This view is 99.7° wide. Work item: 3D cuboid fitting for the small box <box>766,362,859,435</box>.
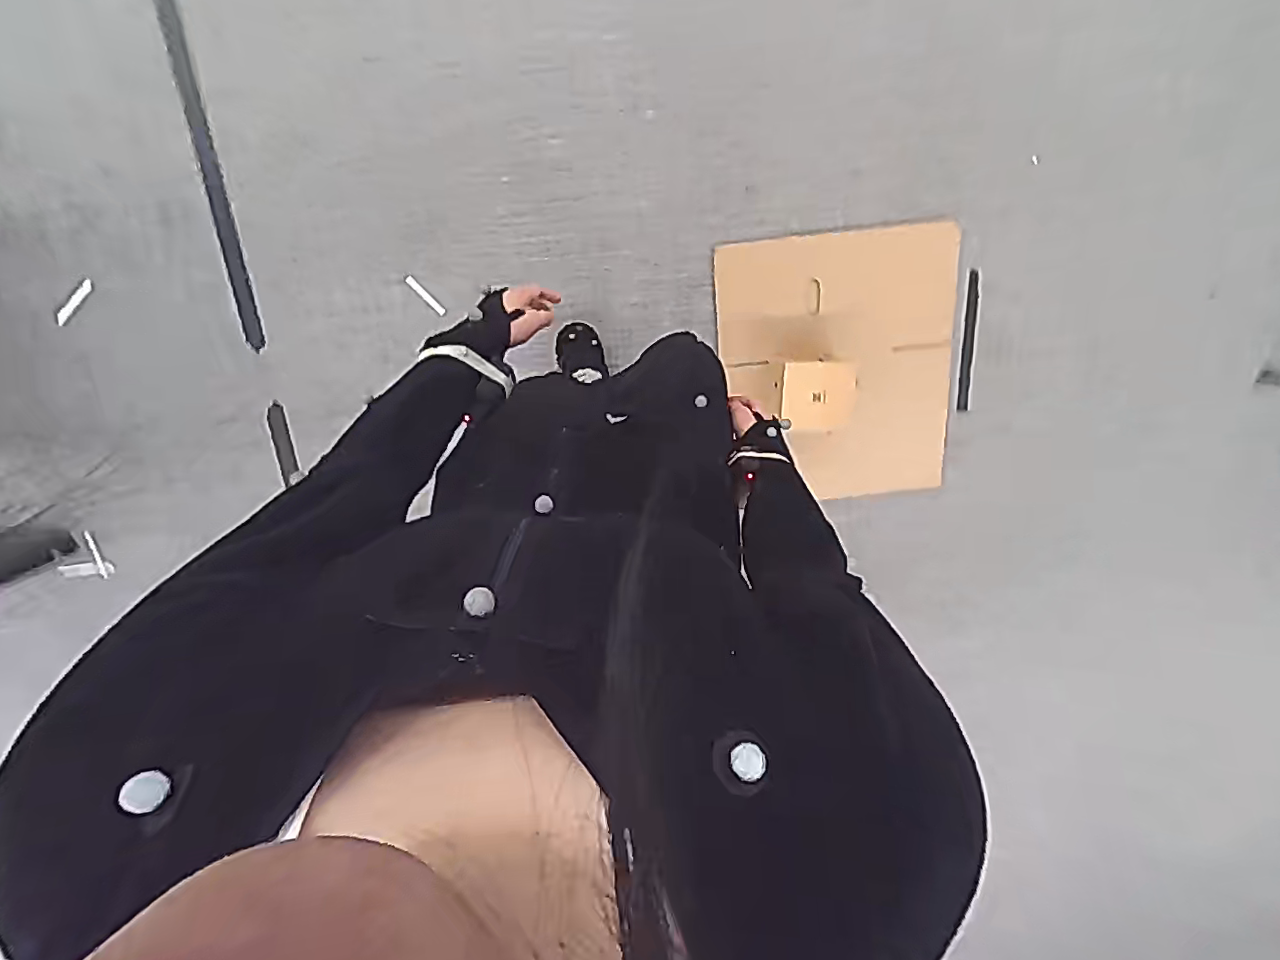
[{"bbox_3d":[0.423,-0.208,1.357,0.179,0.176,0.168,0,105,-1],"label":"small box"}]
